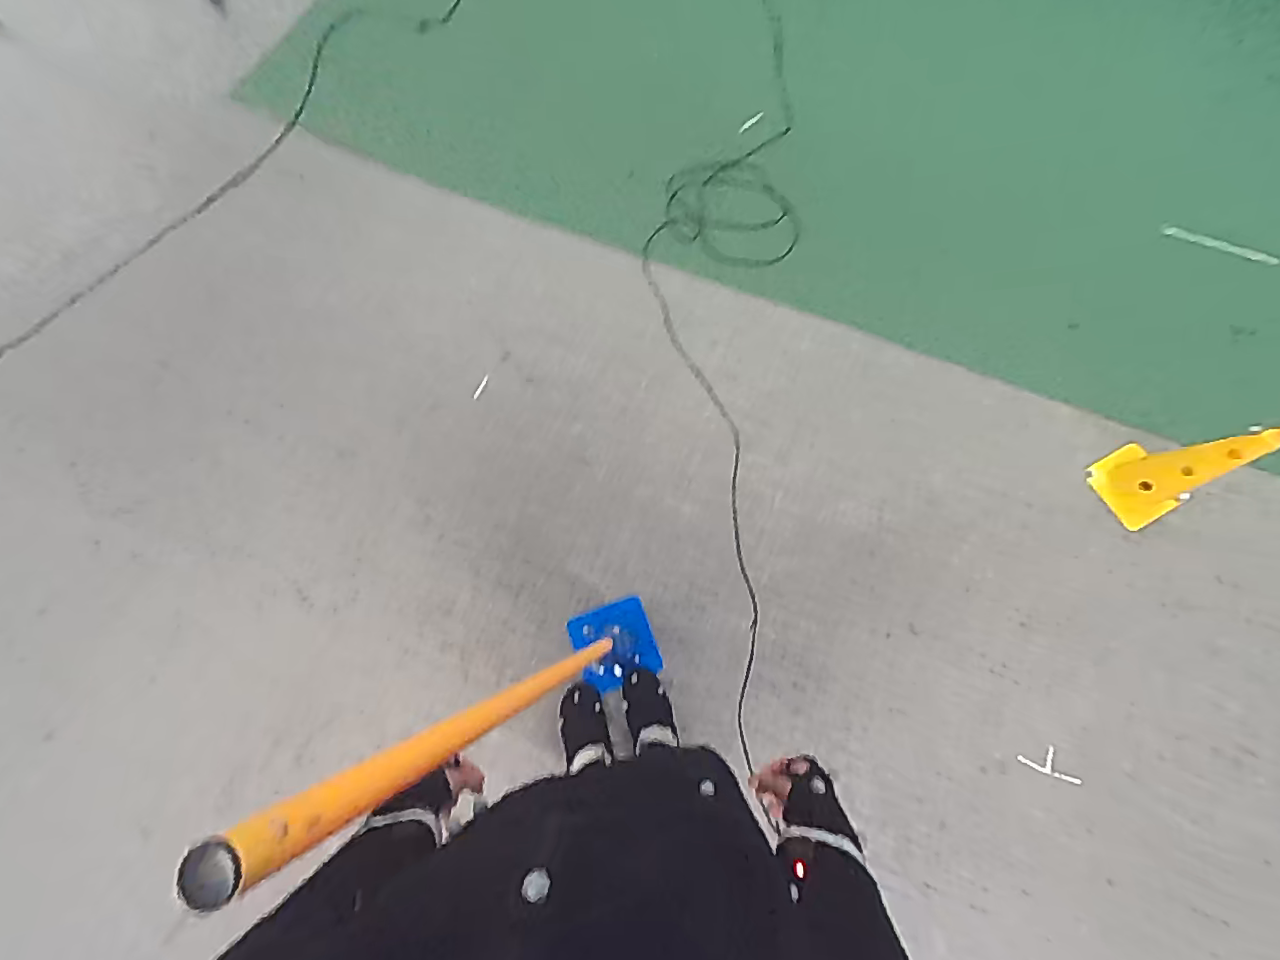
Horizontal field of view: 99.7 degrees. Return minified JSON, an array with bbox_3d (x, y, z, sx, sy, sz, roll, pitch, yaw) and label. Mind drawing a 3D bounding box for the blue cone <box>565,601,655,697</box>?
[{"bbox_3d":[-0.071,0.369,1.167,0.193,0.380,0.192,-21,74,-6],"label":"blue cone"}]
